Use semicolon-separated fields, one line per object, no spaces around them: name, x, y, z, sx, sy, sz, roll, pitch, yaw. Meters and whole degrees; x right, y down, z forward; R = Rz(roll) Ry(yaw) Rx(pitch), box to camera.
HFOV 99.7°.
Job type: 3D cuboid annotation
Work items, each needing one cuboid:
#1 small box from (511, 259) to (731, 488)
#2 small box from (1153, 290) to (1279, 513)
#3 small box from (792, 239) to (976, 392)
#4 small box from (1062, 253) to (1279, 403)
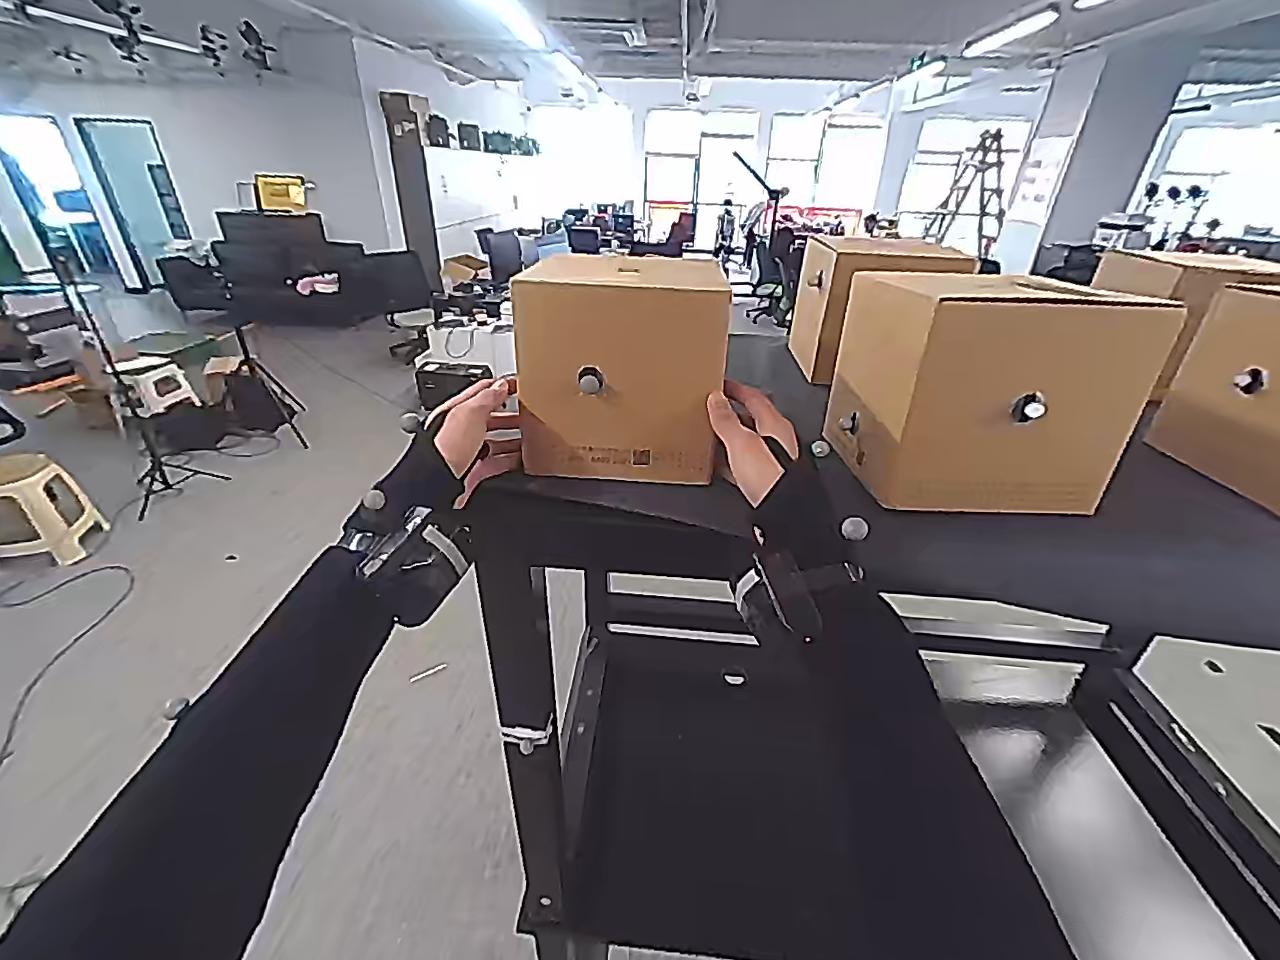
small box;-0.010;-0.104;0.503;0.168;0.176;0.179;3;29;2
small box;0.625;-0.064;0.471;0.168;0.176;0.179;4;27;4
small box;0.317;-0.229;0.744;0.168;0.176;0.179;4;30;2
small box;0.729;-0.204;0.732;0.168;0.176;0.179;8;30;7
